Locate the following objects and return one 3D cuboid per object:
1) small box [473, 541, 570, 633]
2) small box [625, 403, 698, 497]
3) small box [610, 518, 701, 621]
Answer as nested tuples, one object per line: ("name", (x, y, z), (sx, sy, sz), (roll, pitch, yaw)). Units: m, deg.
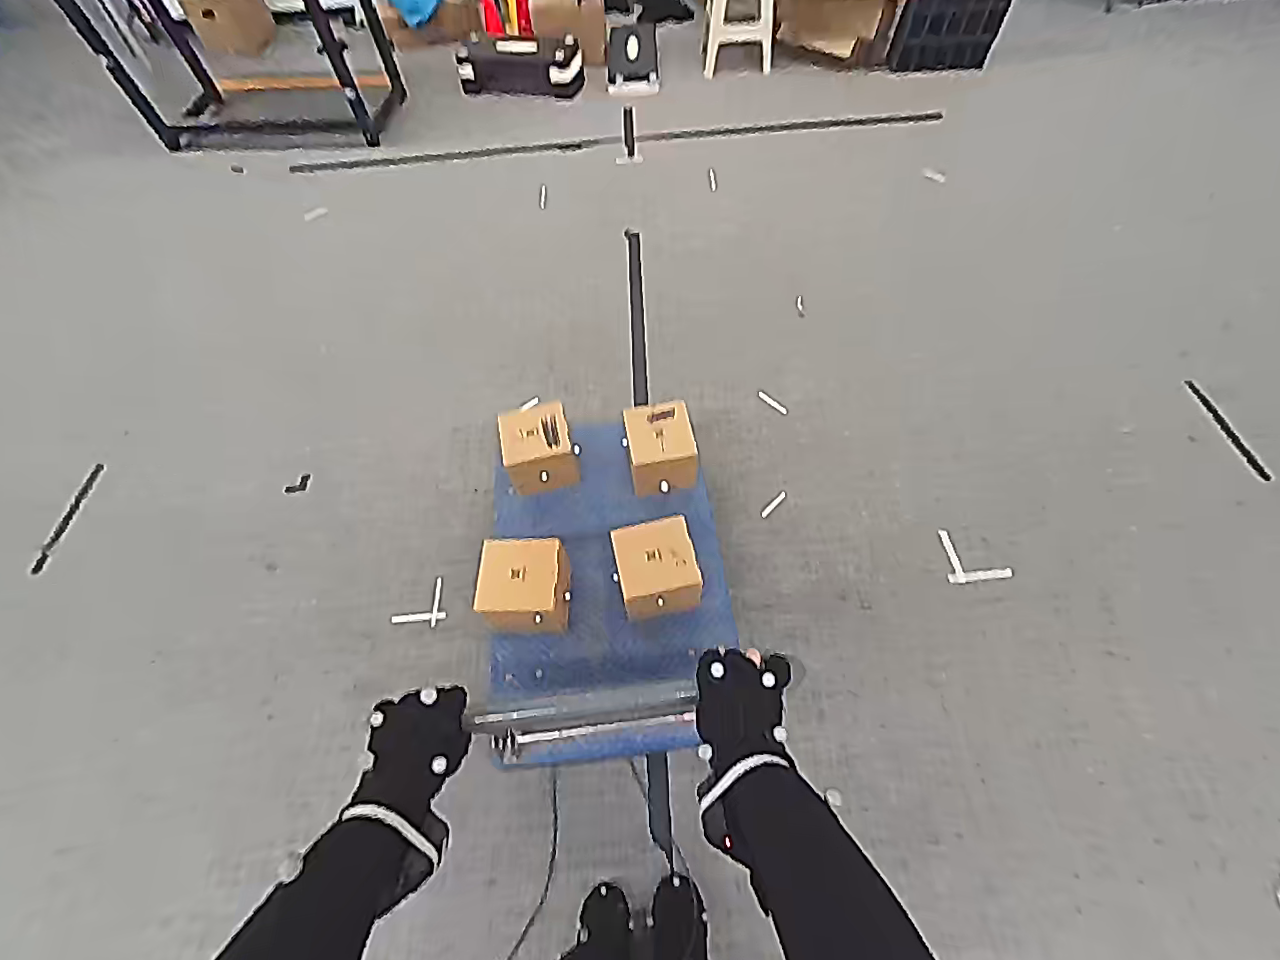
("small box", (-0.265, 0.251, 1.250), (0.179, 0.176, 0.168), (-1, 58, 1))
("small box", (0.054, -0.077, 1.431), (0.168, 0.176, 0.179), (-9, 59, -2))
("small box", (0.037, 0.213, 1.255), (0.179, 0.176, 0.168), (-12, 59, -4))
